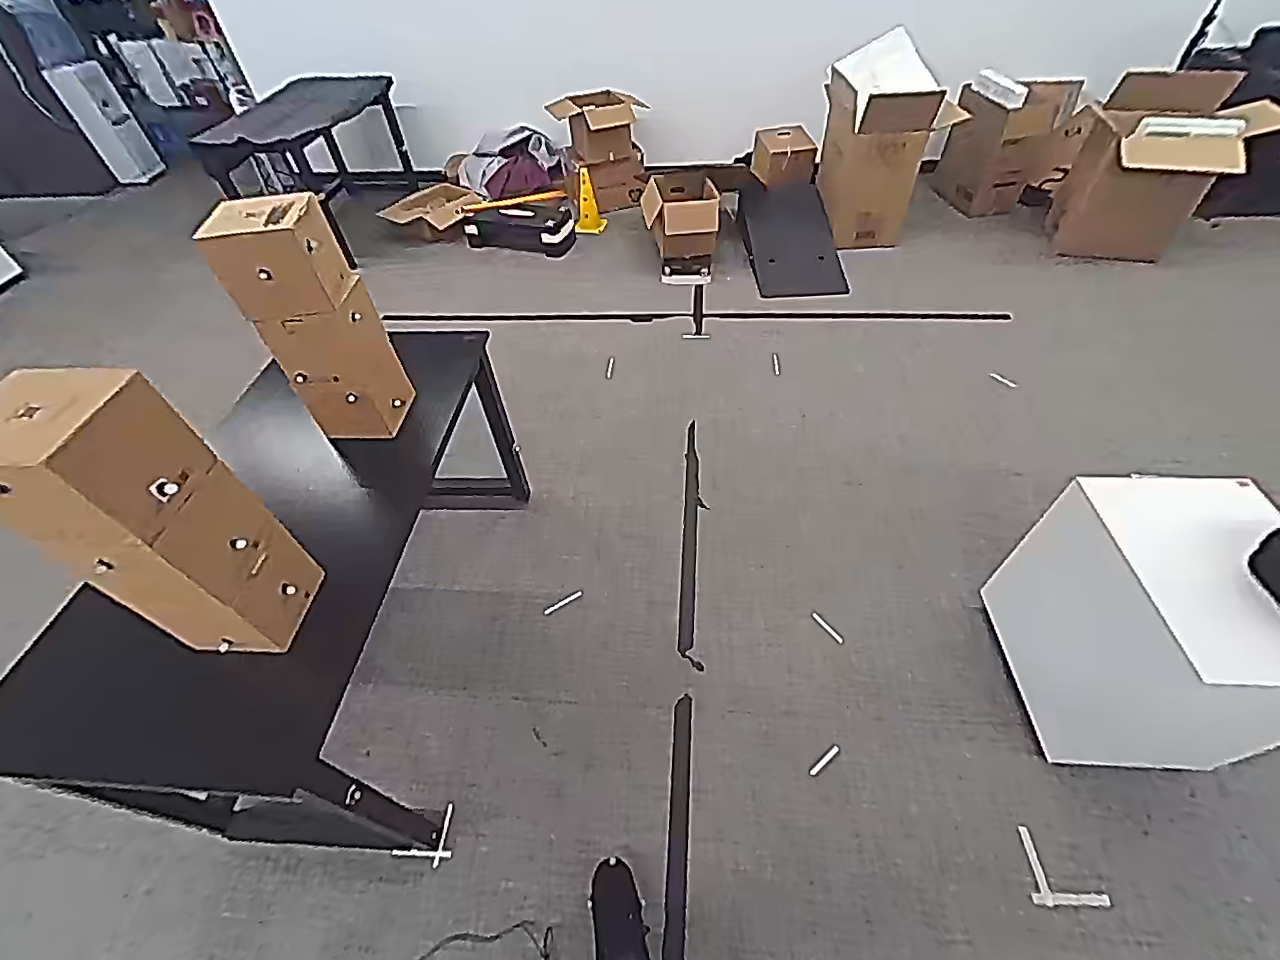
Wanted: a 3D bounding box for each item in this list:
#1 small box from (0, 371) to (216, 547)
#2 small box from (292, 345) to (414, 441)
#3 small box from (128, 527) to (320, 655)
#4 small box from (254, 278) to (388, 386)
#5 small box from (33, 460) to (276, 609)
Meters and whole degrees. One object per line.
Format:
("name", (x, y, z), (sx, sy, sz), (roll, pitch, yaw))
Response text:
("small box", (-0.722, -0.024, 0.703), (0.179, 0.176, 0.168), (0, 50, 3))
("small box", (-0.678, -0.208, 1.303), (0.179, 0.176, 0.168), (0, 49, 4))
("small box", (-0.706, 0.194, 0.947), (0.179, 0.176, 0.168), (0, 48, 3))
("small box", (-0.679, -0.317, 1.179), (0.168, 0.176, 0.179), (-2, 48, 1))
("small box", (-0.715, 0.085, 0.824), (0.179, 0.176, 0.168), (0, 49, 4))
